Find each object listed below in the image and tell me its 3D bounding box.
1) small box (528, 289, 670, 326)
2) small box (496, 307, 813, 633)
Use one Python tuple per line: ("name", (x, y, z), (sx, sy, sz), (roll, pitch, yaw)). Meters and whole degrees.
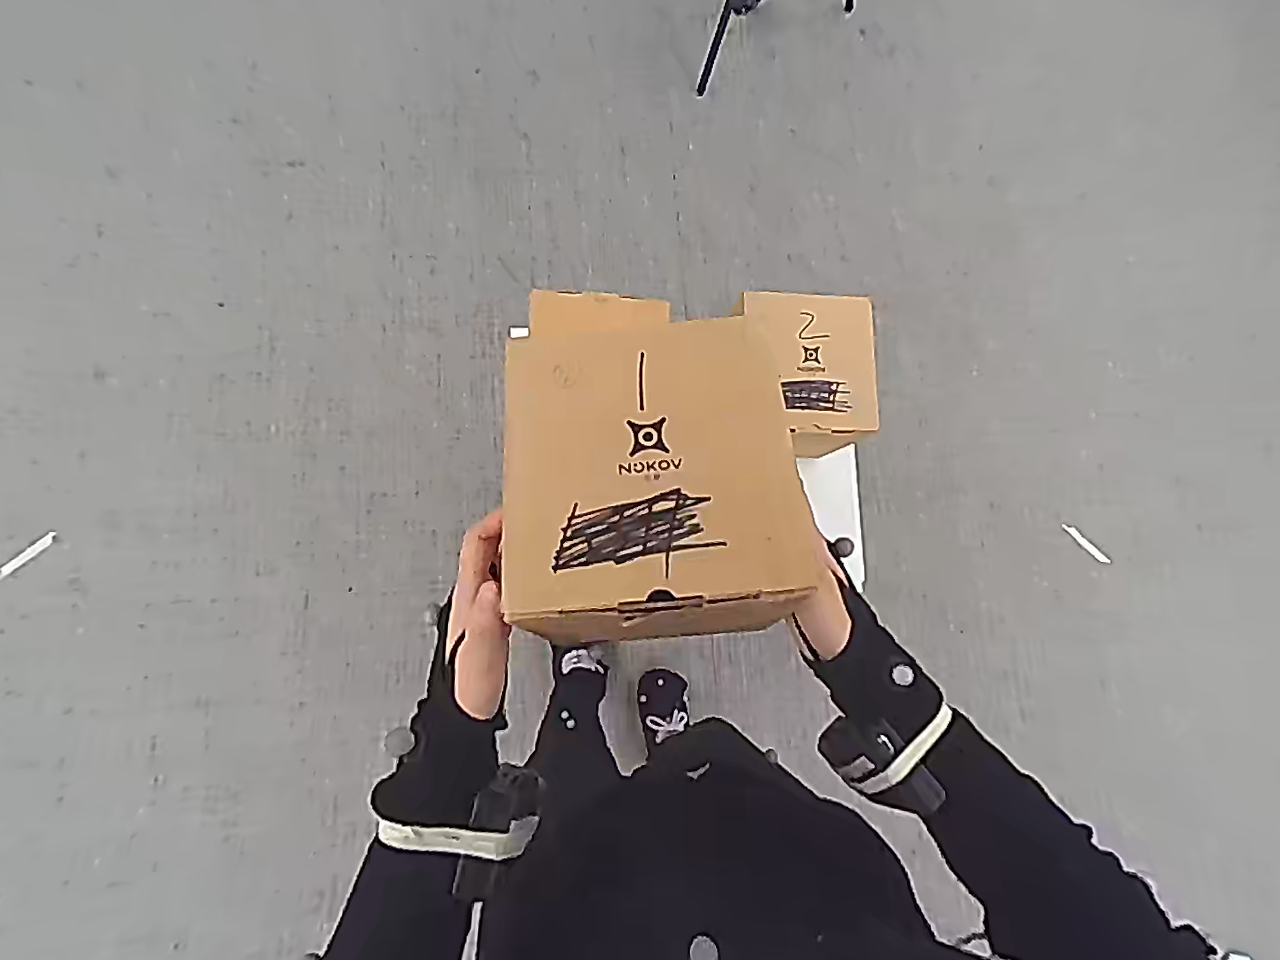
("small box", (-0.057, -0.121, 0.700), (0.168, 0.176, 0.179), (2, 81, -7))
("small box", (0.006, 0.009, 0.378), (0.168, 0.176, 0.179), (-4, 67, 0))
